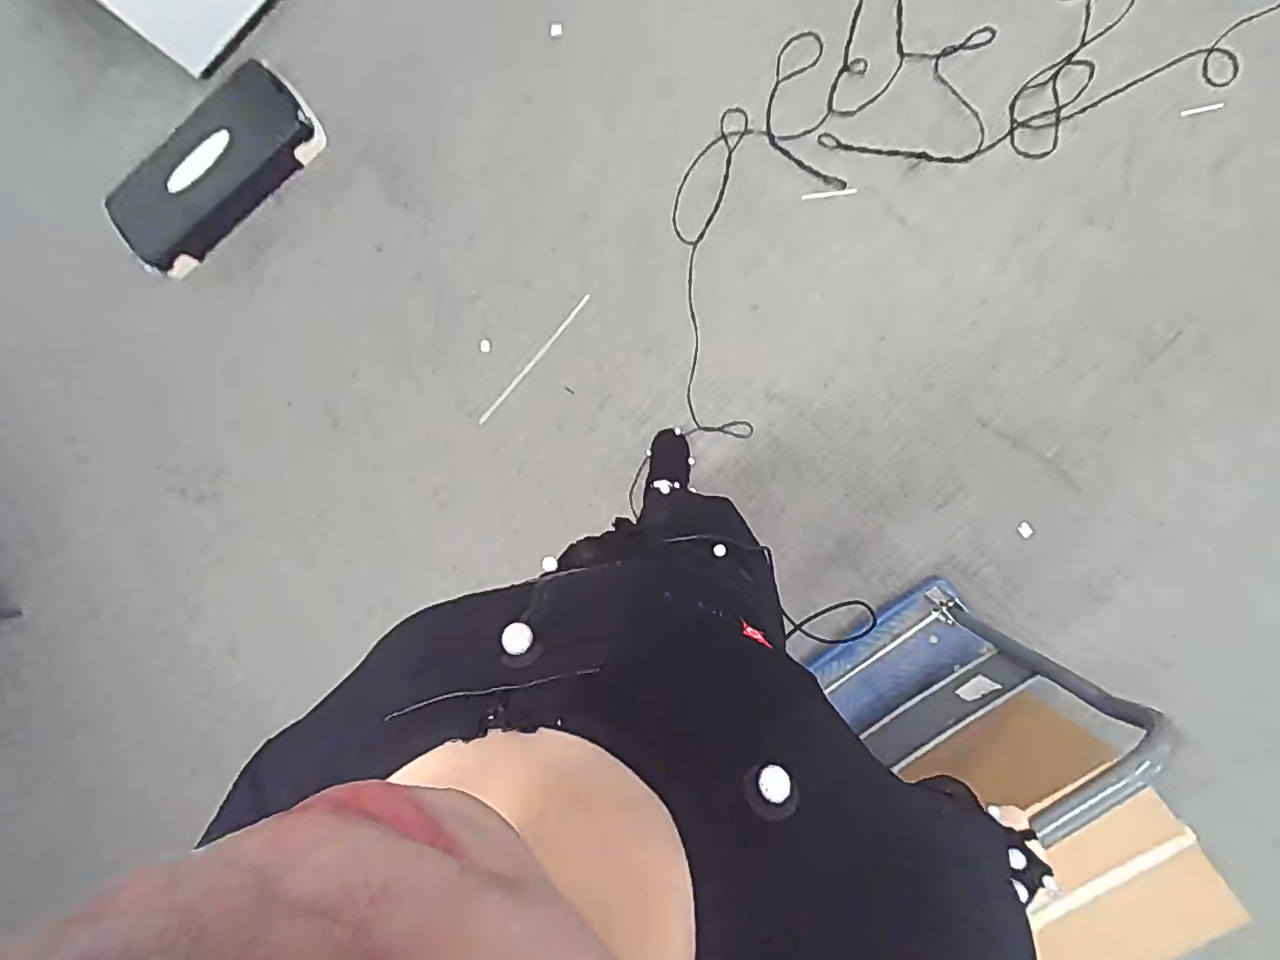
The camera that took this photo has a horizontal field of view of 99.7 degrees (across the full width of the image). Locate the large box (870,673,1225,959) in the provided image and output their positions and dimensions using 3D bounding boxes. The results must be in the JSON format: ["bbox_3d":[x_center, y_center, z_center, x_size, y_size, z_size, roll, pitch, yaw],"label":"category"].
[{"bbox_3d":[0.753,0.666,1.078,0.408,0.320,0.320,-36,84,7],"label":"large box"}]
